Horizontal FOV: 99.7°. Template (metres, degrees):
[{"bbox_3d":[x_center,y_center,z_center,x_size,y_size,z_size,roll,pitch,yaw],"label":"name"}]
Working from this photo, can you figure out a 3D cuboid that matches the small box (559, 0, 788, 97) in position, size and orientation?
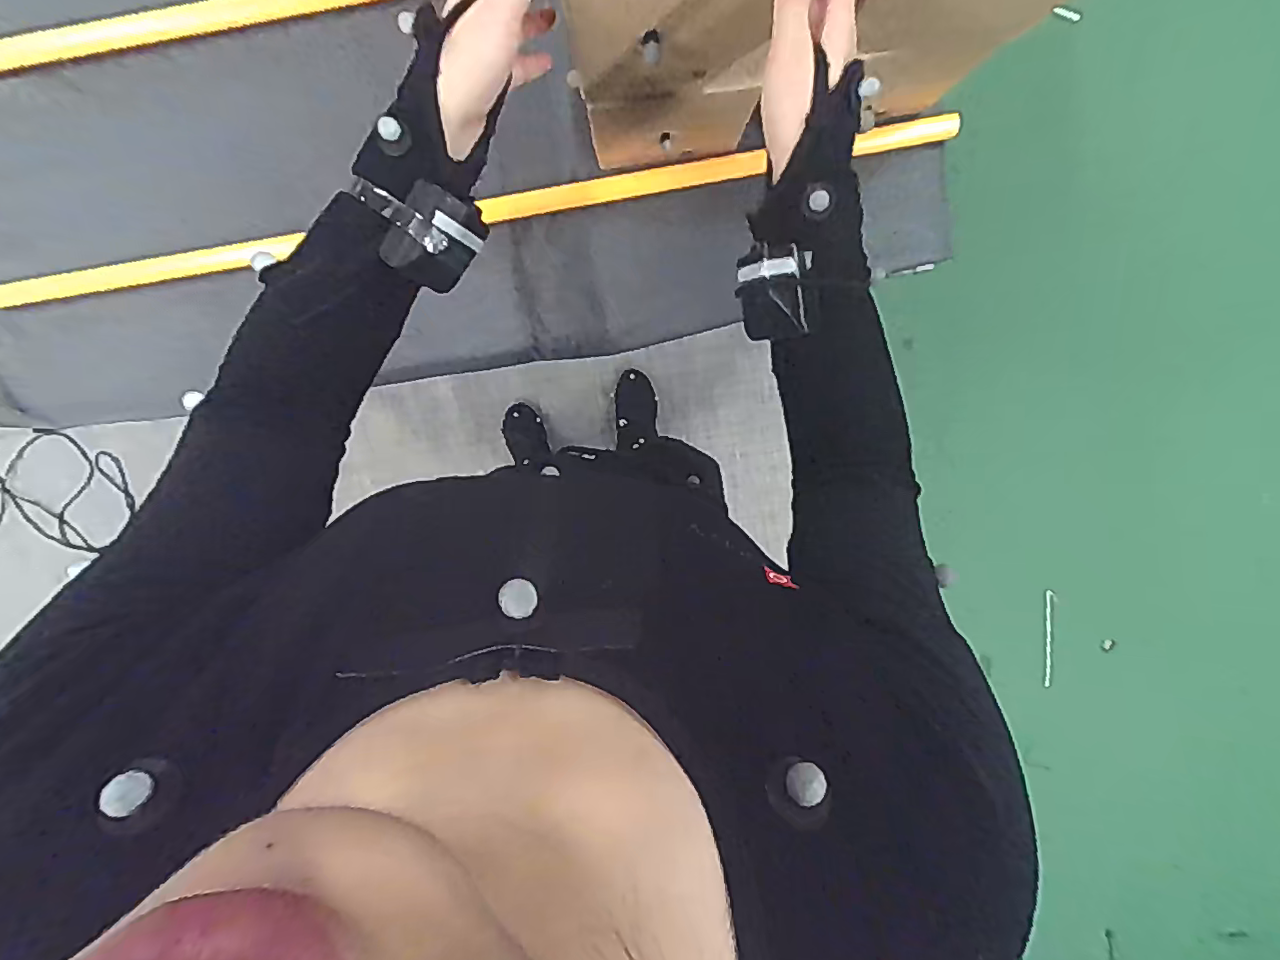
[{"bbox_3d":[0.021,-0.414,0.397,0.168,0.176,0.179,-6,102,2],"label":"small box"}]

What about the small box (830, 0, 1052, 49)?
[{"bbox_3d":[0.248,-0.447,0.388,0.179,0.176,0.168,-5,104,-1],"label":"small box"}]
